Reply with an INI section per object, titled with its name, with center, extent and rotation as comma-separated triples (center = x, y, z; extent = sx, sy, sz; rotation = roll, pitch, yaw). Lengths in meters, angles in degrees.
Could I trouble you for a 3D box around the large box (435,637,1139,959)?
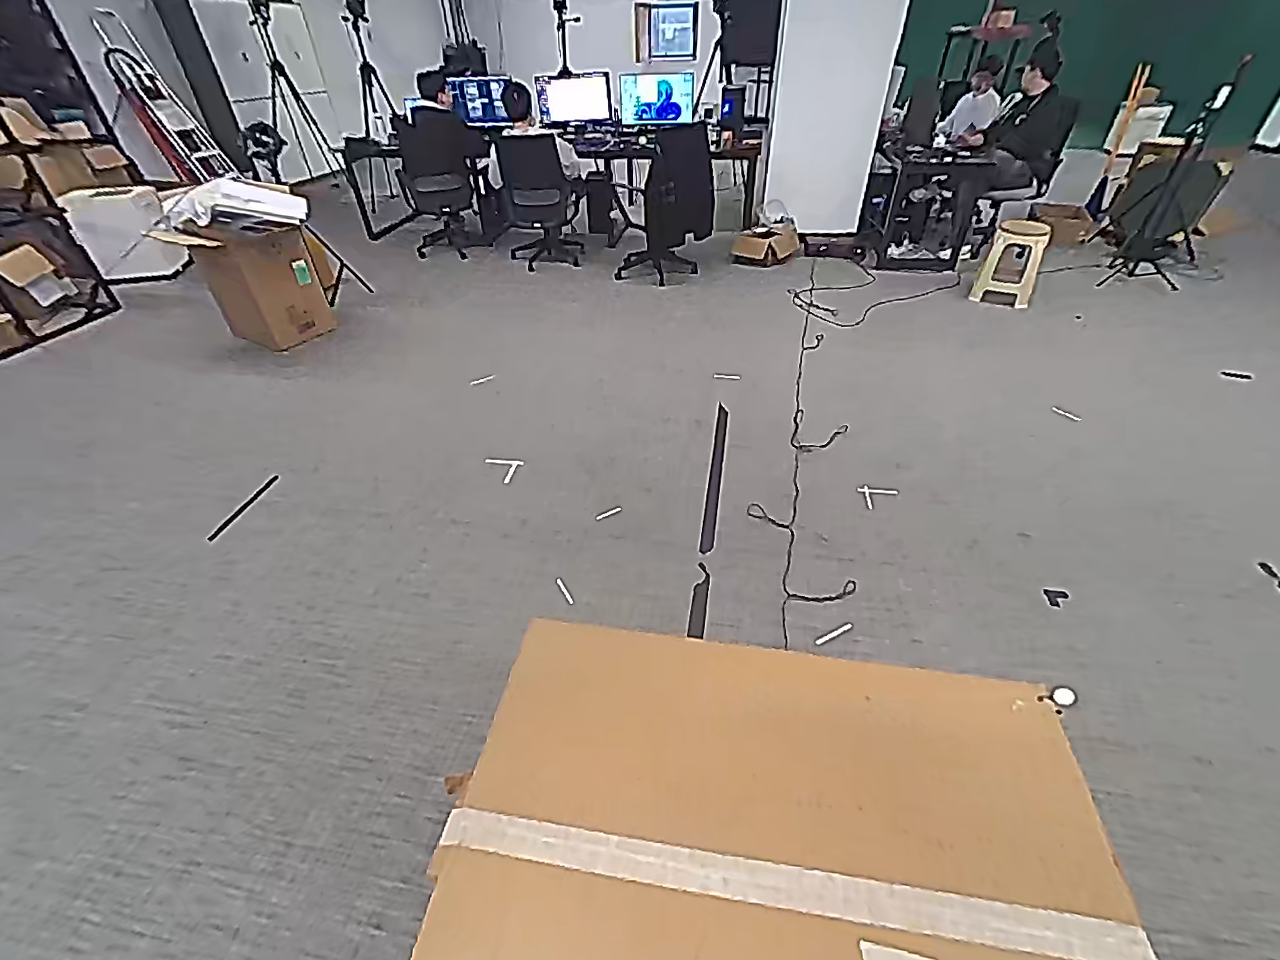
[large box]
center = 0.087, 0.360, 0.430
extent = 0.408, 0.320, 0.320
rotation = 6, 44, 7
